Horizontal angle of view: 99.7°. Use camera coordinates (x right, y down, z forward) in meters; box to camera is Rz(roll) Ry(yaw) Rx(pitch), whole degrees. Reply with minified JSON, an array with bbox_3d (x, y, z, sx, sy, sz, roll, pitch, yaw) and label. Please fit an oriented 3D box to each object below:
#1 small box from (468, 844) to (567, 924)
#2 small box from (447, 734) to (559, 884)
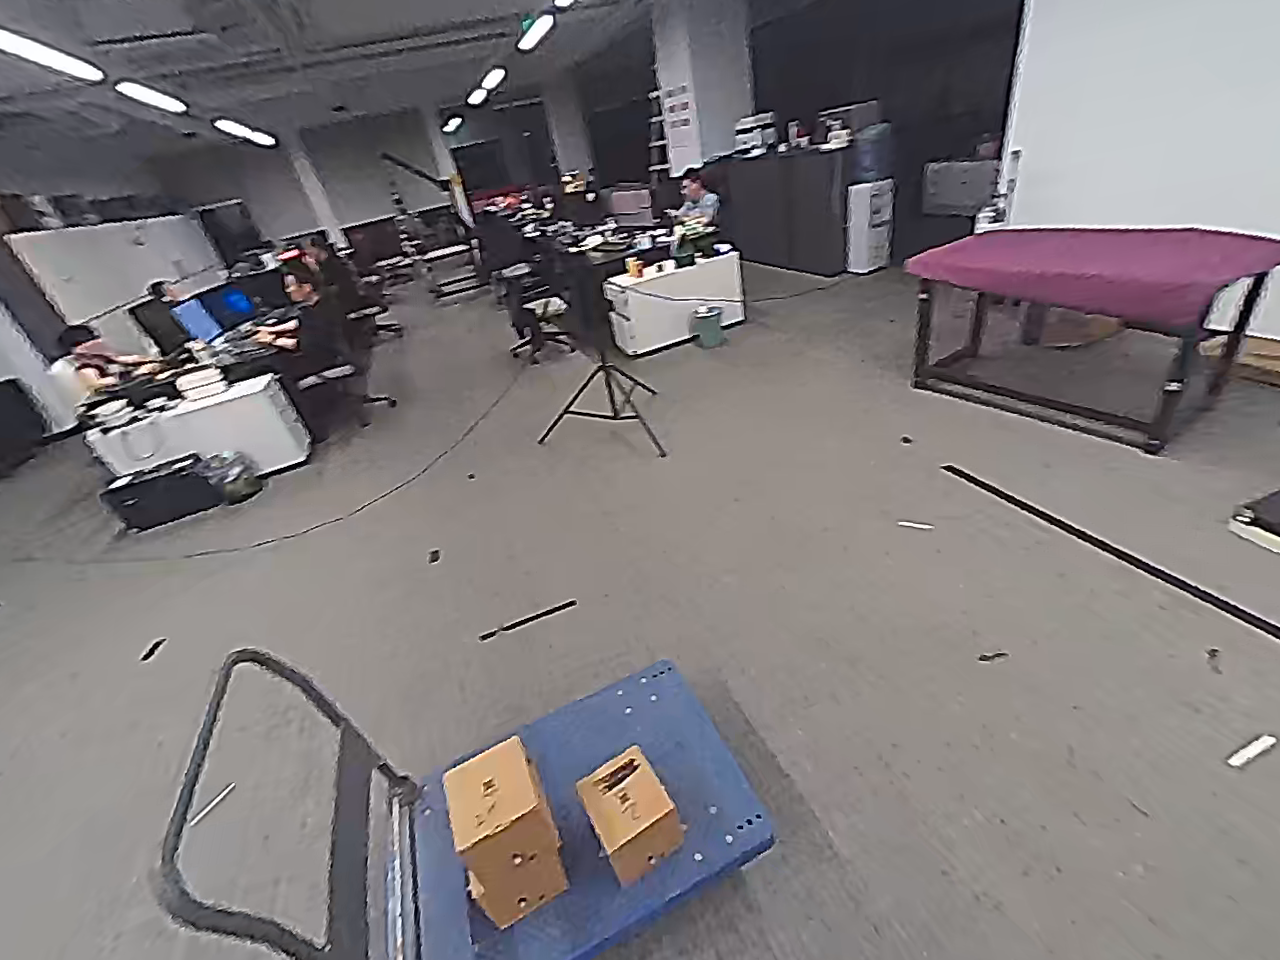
[{"bbox_3d":[-0.279,0.828,1.207,0.168,0.176,0.179,-23,34,-17],"label":"small box"},{"bbox_3d":[-0.285,0.683,1.127,0.168,0.176,0.179,-23,34,-16],"label":"small box"}]
